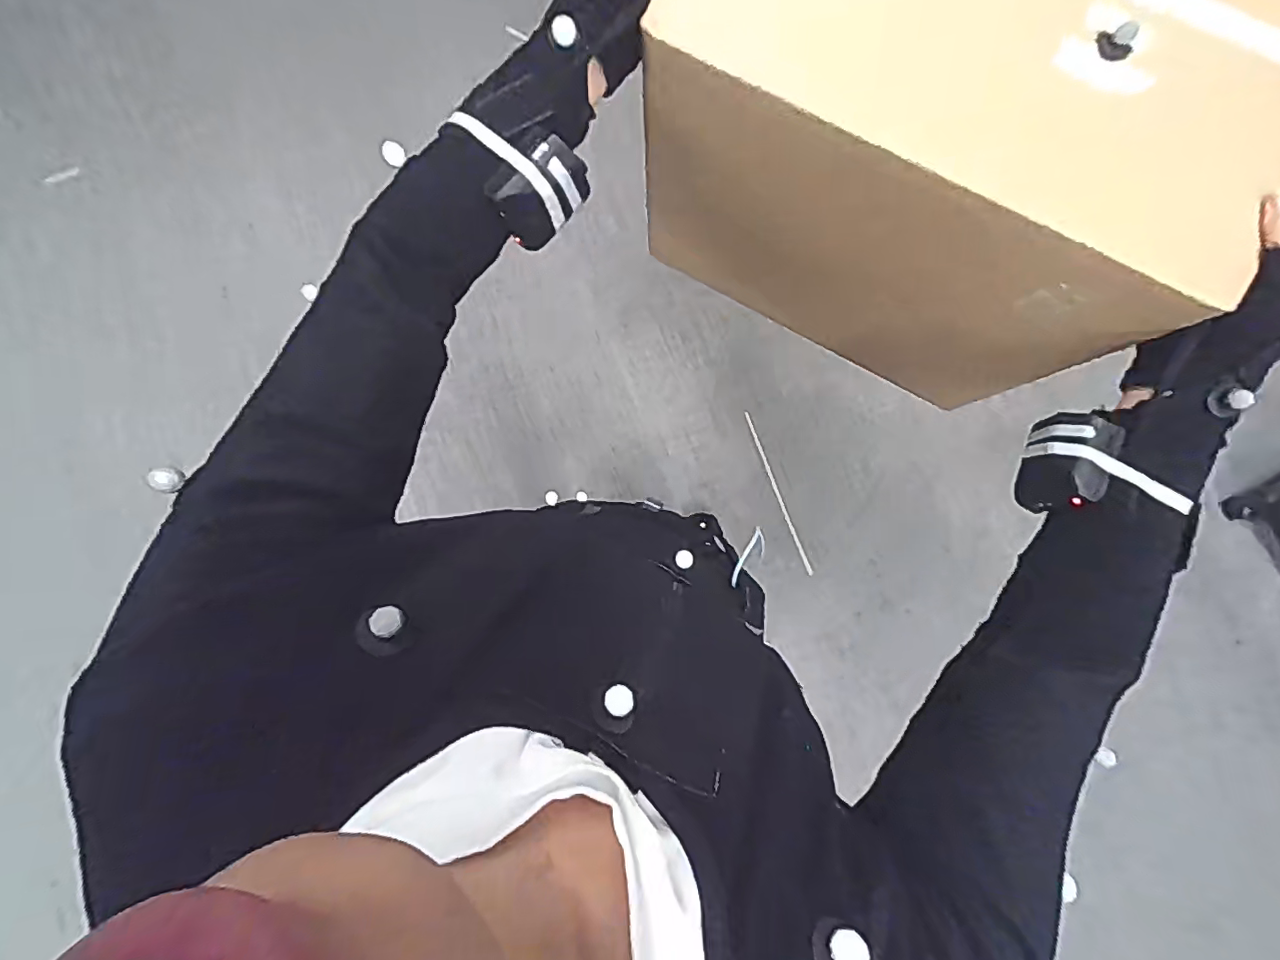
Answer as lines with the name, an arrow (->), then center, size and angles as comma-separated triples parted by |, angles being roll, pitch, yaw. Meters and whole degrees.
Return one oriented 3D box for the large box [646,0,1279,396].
large box -> 0.248, -0.328, 0.507 | 0.408, 0.320, 0.320 | 27, 88, 2
